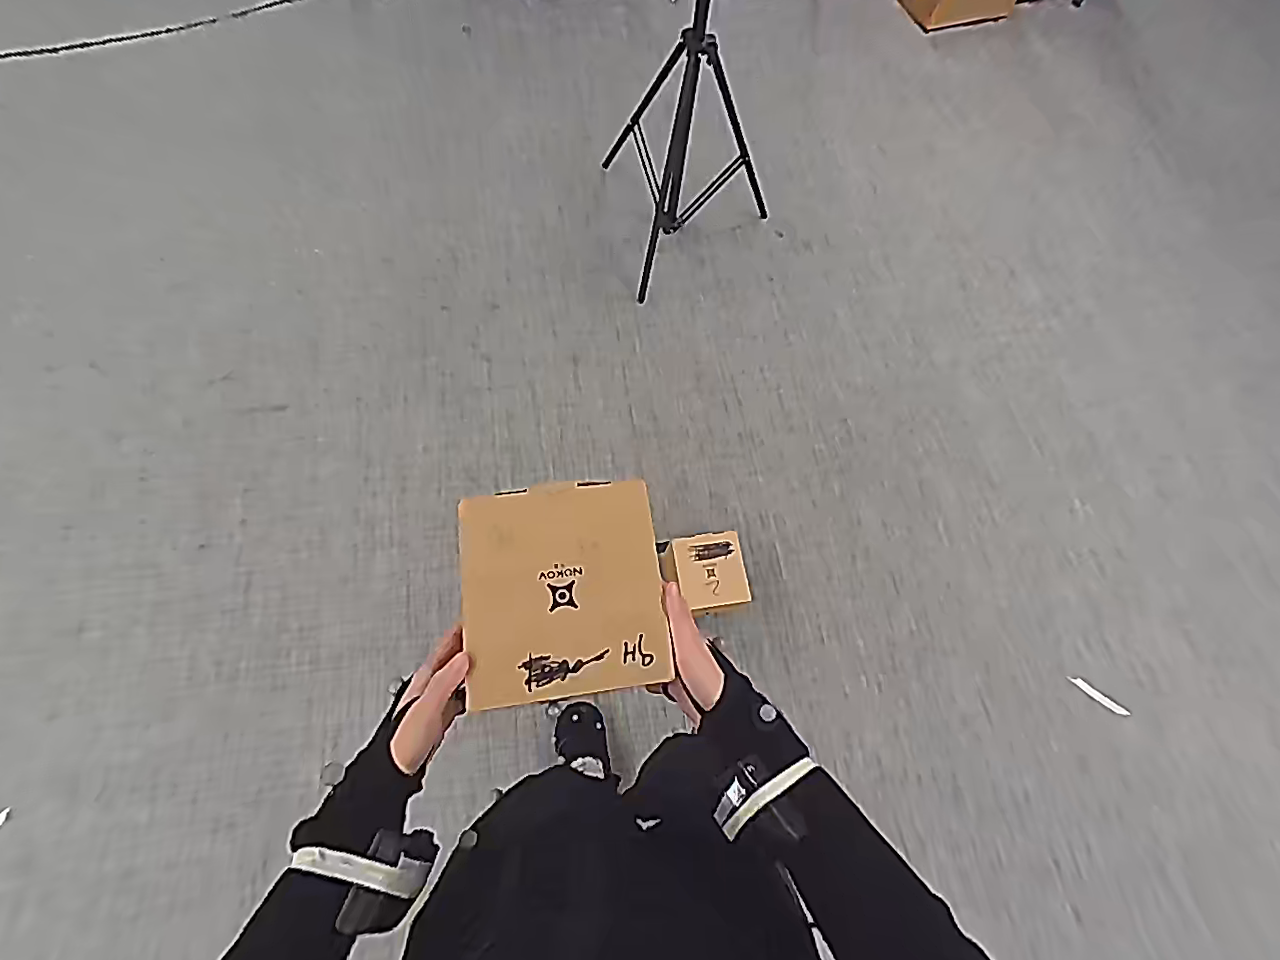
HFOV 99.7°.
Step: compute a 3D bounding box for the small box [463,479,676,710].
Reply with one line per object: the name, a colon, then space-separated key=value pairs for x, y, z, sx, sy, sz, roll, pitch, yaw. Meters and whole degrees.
small box: x=-0.068 y=0.115 z=0.521 sx=0.168 sy=0.176 sz=0.179 roll=-7 pitch=71 yaw=-6
